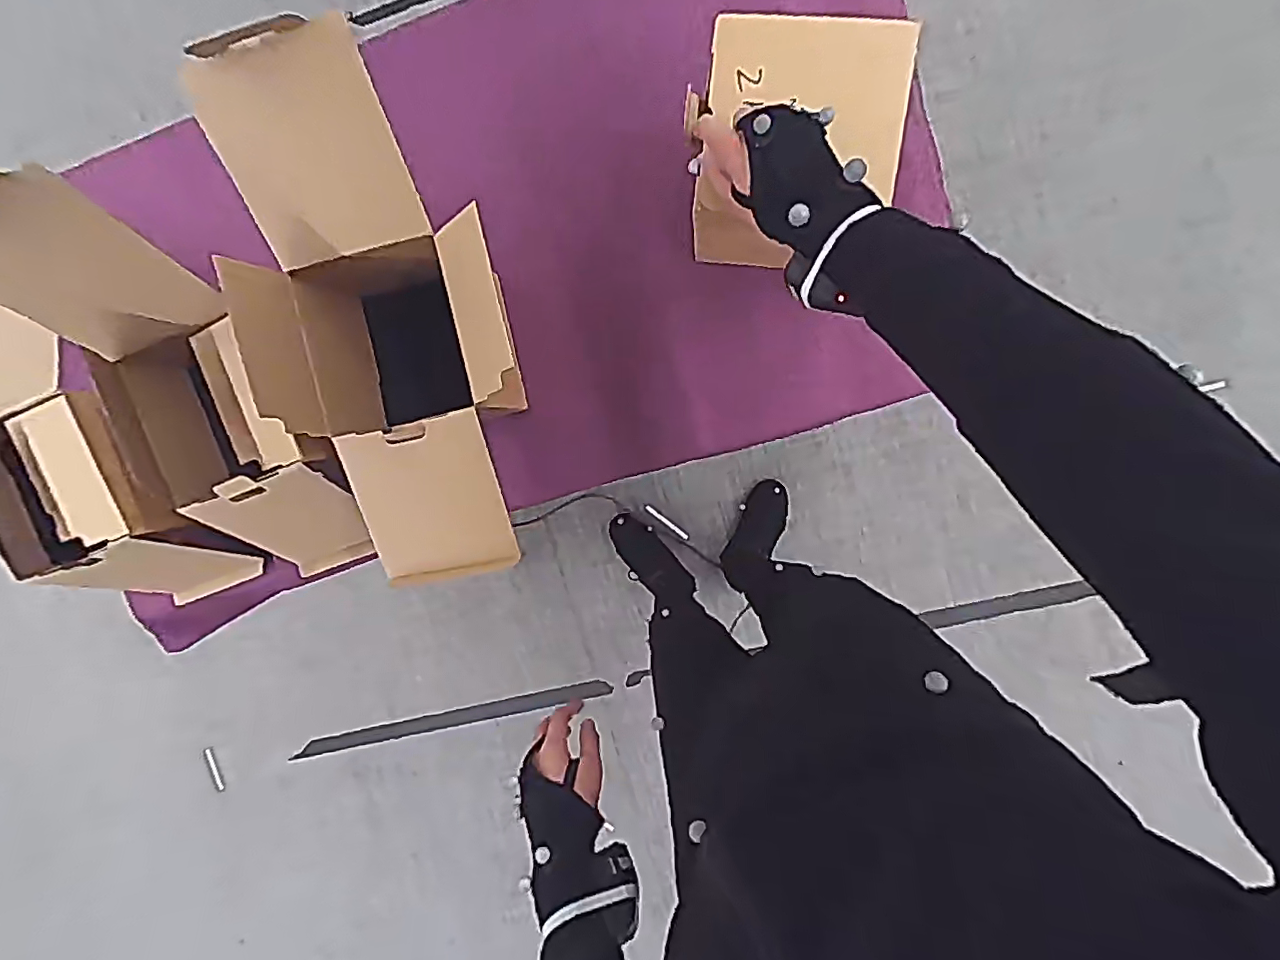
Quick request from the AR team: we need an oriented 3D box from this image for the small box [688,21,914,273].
[{"bbox_3d":[0.147,-0.320,0.554,0.179,0.176,0.168,7,98,6],"label":"small box"}]
